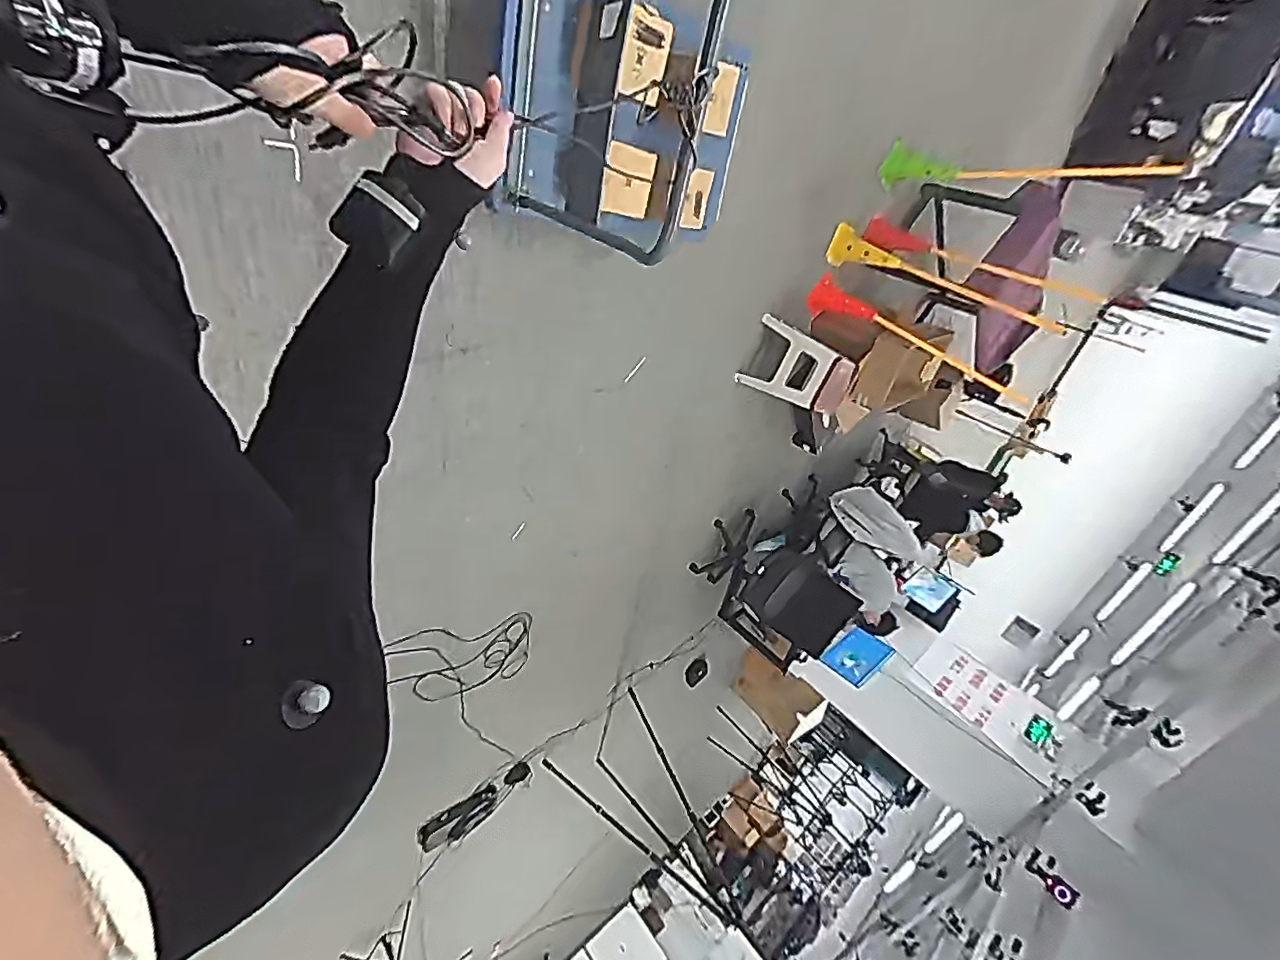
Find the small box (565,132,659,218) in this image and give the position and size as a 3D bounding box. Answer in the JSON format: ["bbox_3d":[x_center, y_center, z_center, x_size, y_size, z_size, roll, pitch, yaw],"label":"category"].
[{"bbox_3d":[-0.081,-0.850,1.508,0.179,0.176,0.168,-12,129,-41],"label":"small box"}]

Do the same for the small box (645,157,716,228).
[{"bbox_3d":[0.101,-0.891,1.670,0.179,0.176,0.168,-16,131,-39],"label":"small box"}]

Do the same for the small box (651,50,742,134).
[{"bbox_3d":[0.155,-1.106,1.542,0.179,0.176,0.168,-18,133,-38],"label":"small box"}]
